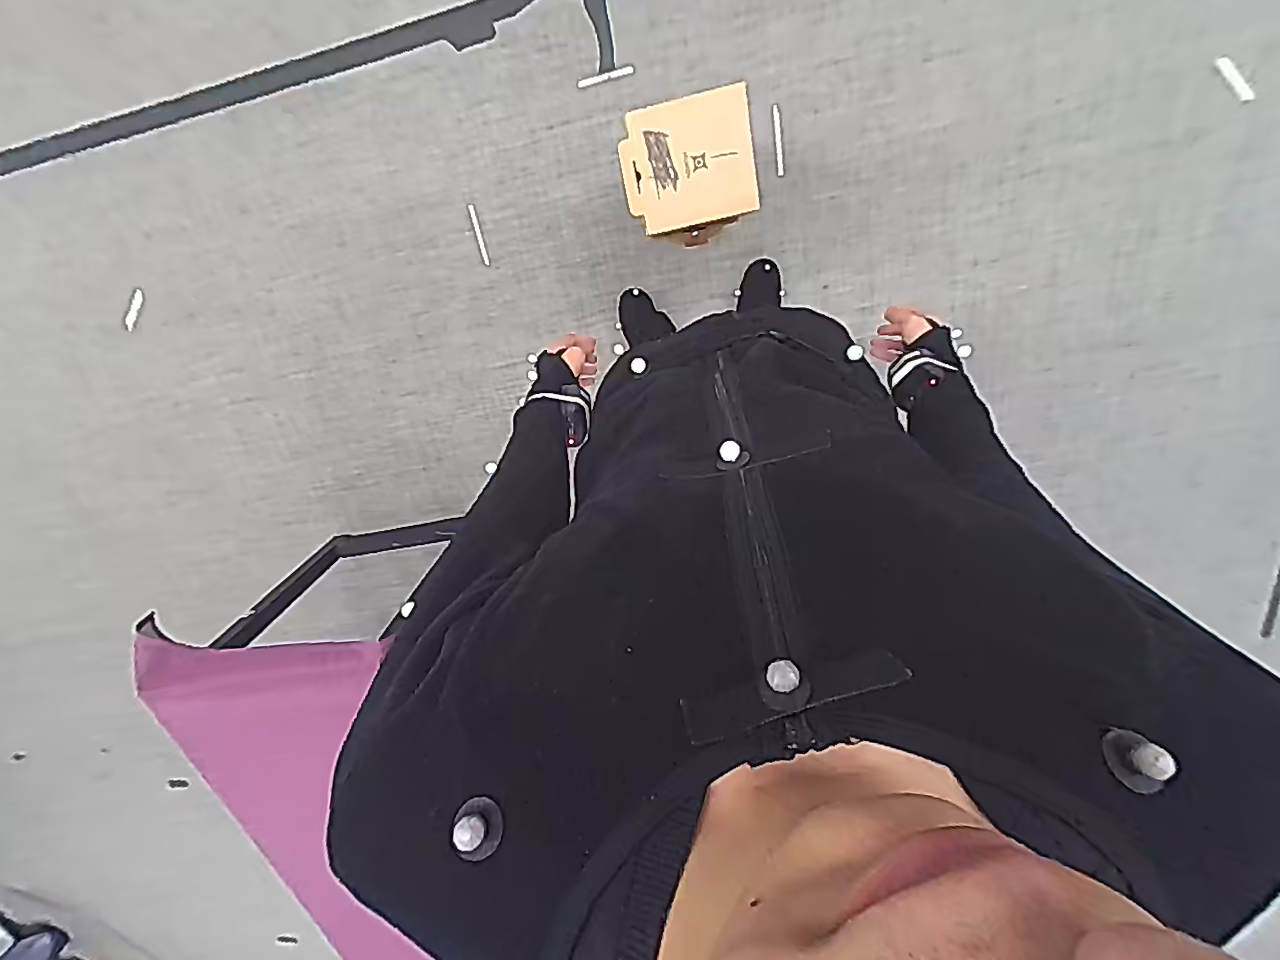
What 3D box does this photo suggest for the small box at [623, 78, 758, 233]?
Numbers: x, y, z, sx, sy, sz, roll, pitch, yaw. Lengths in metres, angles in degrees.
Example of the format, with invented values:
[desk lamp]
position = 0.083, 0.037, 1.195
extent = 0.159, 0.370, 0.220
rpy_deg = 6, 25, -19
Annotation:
[small box]
position = 0.080, -0.496, 0.855
extent = 0.179, 0.176, 0.168
rpy_deg = -11, 113, 7
